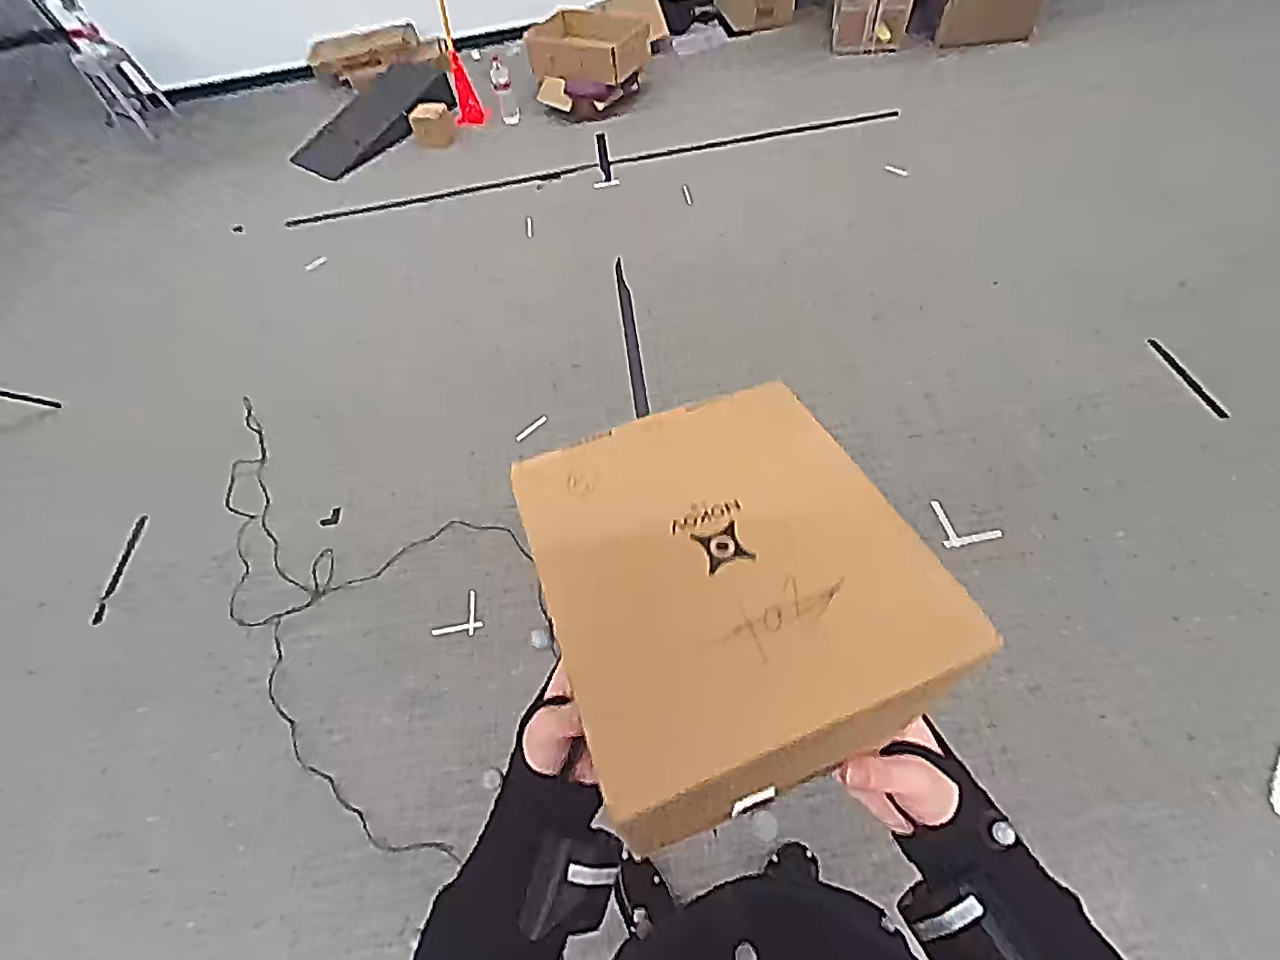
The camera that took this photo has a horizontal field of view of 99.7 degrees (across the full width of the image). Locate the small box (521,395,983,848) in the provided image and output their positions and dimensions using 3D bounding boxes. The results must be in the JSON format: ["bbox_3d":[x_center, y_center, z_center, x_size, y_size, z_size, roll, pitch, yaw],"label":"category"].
[{"bbox_3d":[0.042,0.084,0.322,0.168,0.176,0.179,-19,52,-11],"label":"small box"}]
